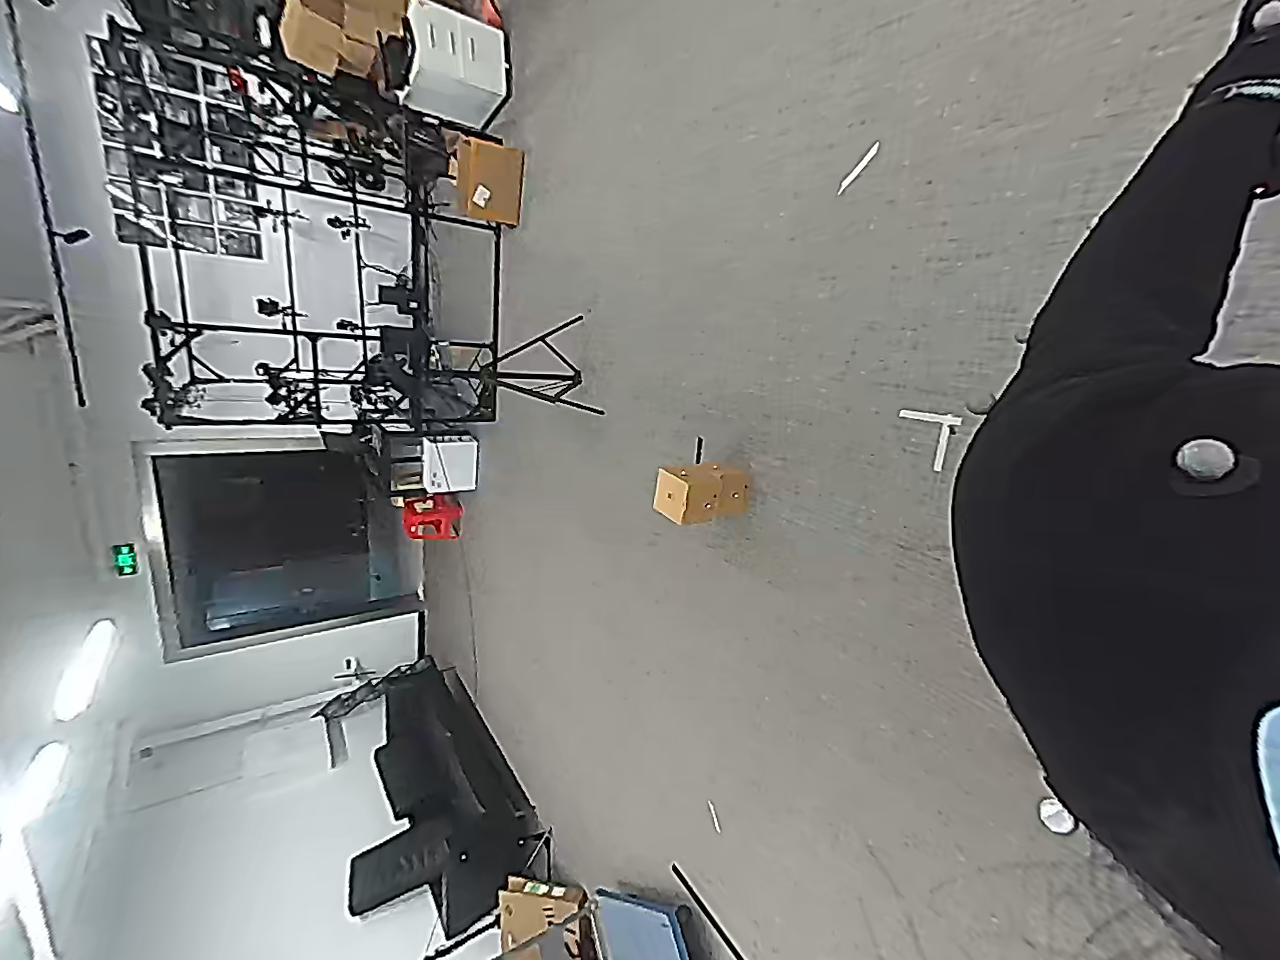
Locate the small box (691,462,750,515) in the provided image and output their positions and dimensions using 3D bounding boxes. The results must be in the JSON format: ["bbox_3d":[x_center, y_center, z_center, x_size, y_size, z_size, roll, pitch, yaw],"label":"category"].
[{"bbox_3d":[0.309,0.028,2.113,0.179,0.176,0.168,24,113,52],"label":"small box"}]

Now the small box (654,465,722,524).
[{"bbox_3d":[0.177,0.048,2.019,0.179,0.176,0.168,32,120,48],"label":"small box"}]
